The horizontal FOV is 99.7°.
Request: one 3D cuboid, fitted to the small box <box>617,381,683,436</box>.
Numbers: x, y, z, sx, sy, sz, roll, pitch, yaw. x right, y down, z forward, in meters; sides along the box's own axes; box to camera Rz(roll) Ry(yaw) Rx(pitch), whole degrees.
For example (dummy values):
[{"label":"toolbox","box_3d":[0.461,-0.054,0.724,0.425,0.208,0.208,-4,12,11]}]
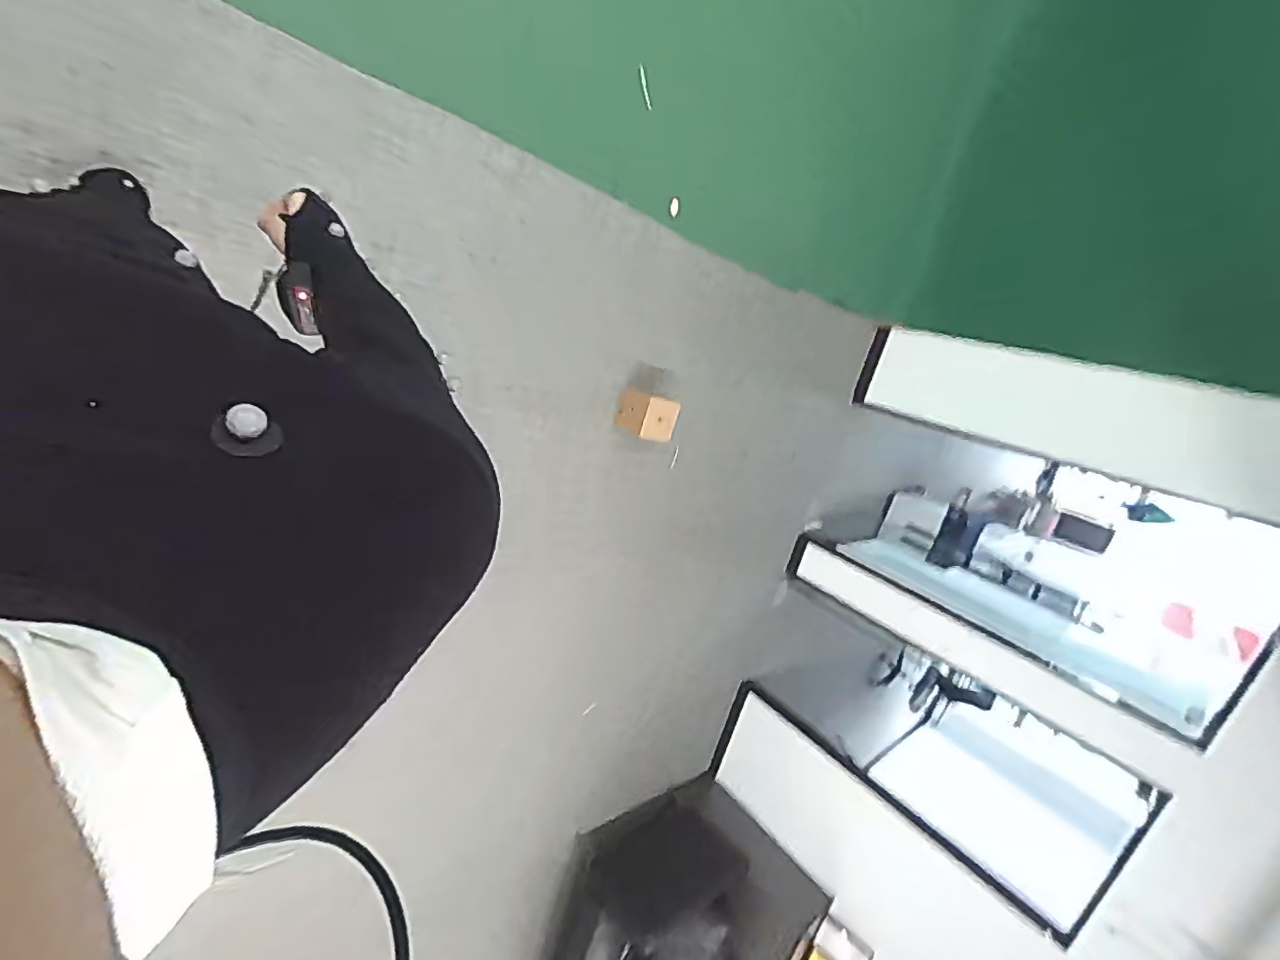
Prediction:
[{"label":"small box","box_3d":[0.036,-0.288,2.166,0.179,0.176,0.168,3,111,-44]}]
